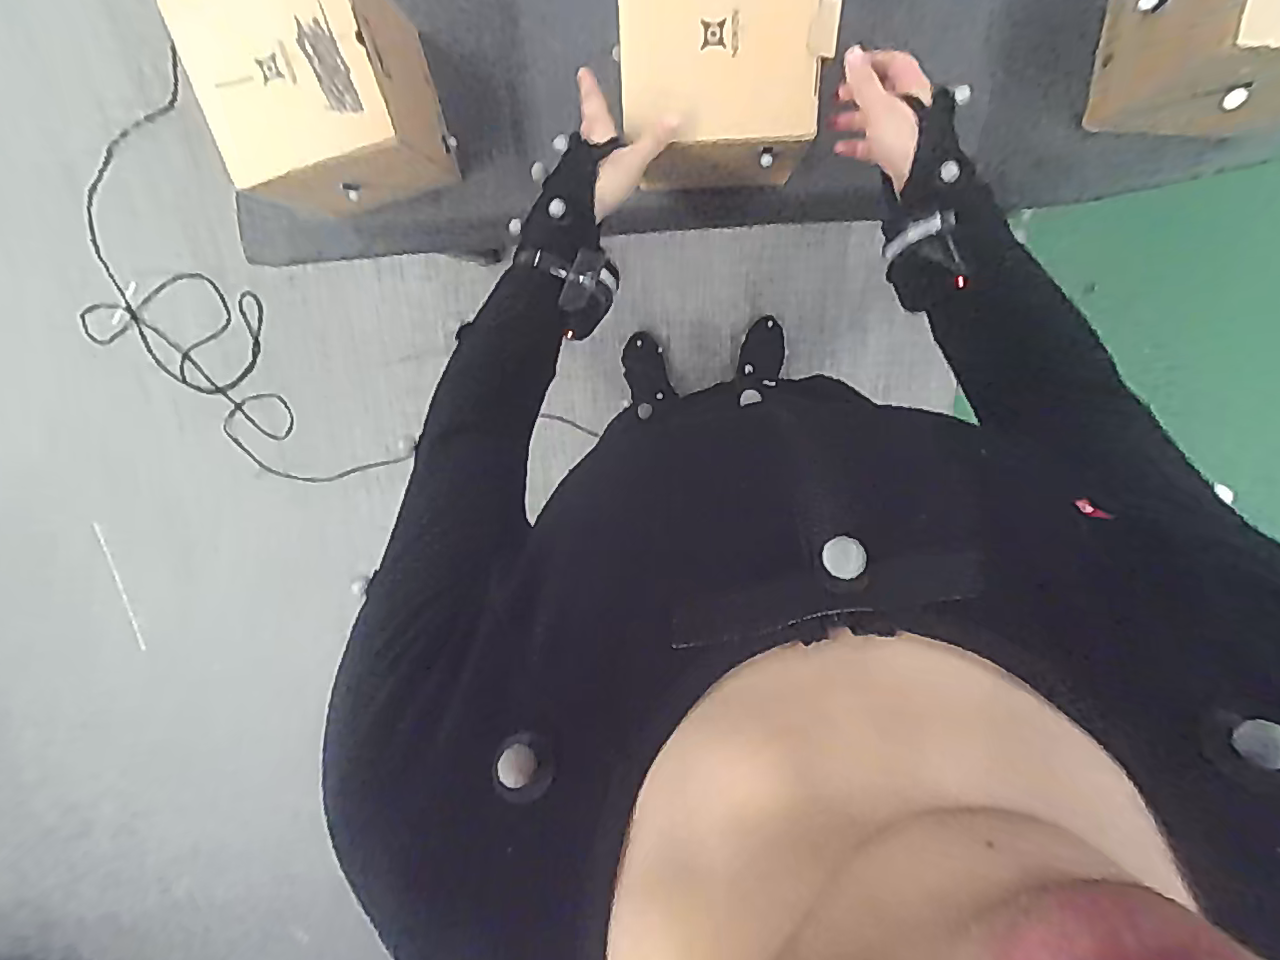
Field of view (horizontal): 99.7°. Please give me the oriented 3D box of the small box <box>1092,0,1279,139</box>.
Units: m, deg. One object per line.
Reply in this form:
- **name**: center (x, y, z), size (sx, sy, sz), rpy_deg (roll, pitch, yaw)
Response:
- **small box**: center (0.573, -0.436, 0.494), size (0.179, 0.176, 0.168), rpy_deg (4, 103, 4)

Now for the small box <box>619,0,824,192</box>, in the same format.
- **small box**: center (0.077, -0.403, 0.546), size (0.179, 0.176, 0.168), rpy_deg (0, 105, 5)

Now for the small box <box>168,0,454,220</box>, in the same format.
- **small box**: center (-0.319, -0.394, 0.574), size (0.179, 0.176, 0.168), rpy_deg (-12, 106, 8)
